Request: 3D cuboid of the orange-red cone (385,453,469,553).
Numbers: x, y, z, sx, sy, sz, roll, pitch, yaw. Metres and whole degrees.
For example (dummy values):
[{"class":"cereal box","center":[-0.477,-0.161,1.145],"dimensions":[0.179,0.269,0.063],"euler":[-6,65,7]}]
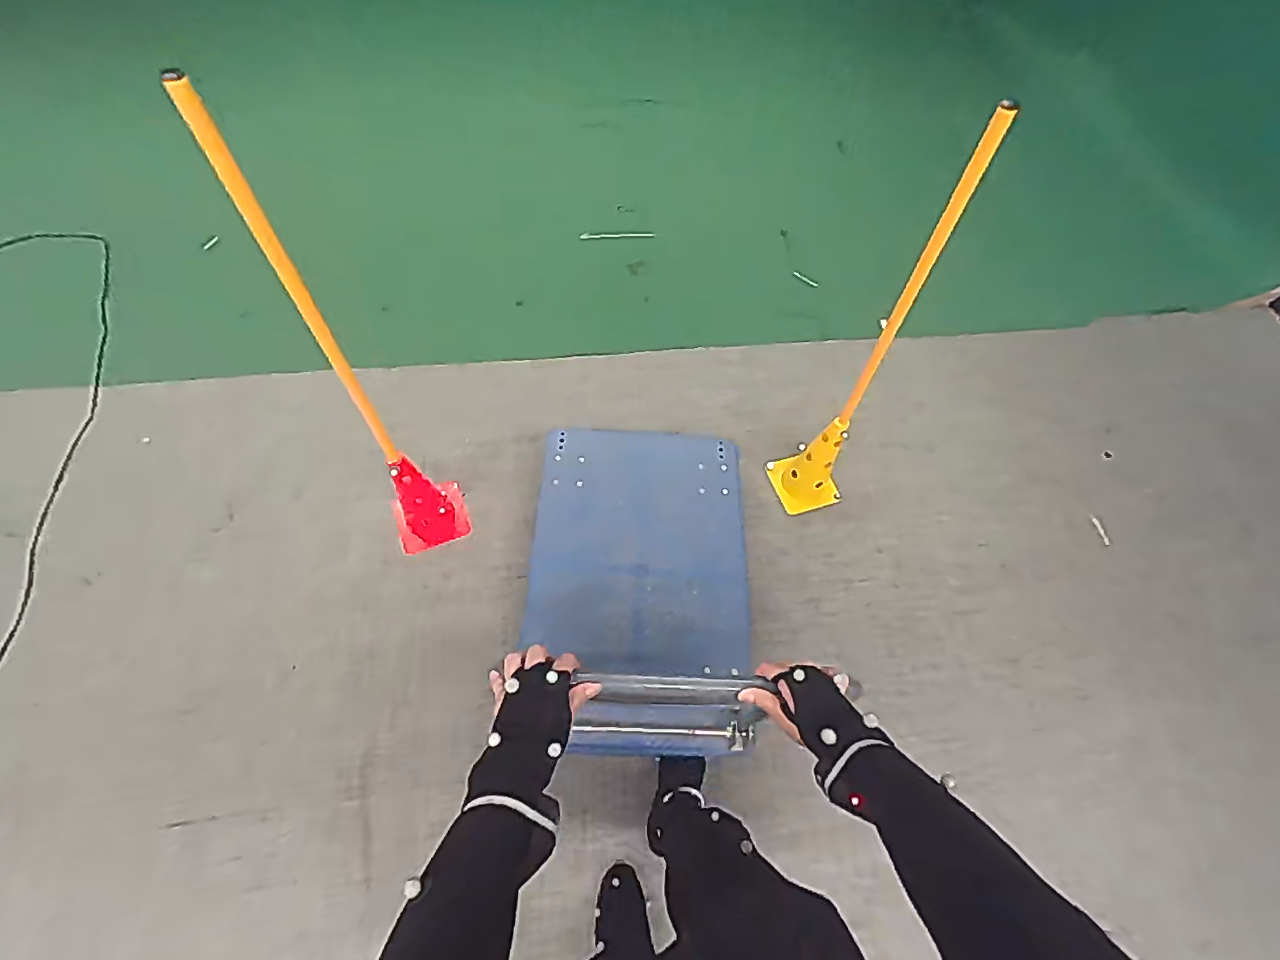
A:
[{"class":"orange-red cone","center":[-0.625,0.033,1.497],"dimensions":[0.199,0.360,0.198],"euler":[-19,64,-12]}]
